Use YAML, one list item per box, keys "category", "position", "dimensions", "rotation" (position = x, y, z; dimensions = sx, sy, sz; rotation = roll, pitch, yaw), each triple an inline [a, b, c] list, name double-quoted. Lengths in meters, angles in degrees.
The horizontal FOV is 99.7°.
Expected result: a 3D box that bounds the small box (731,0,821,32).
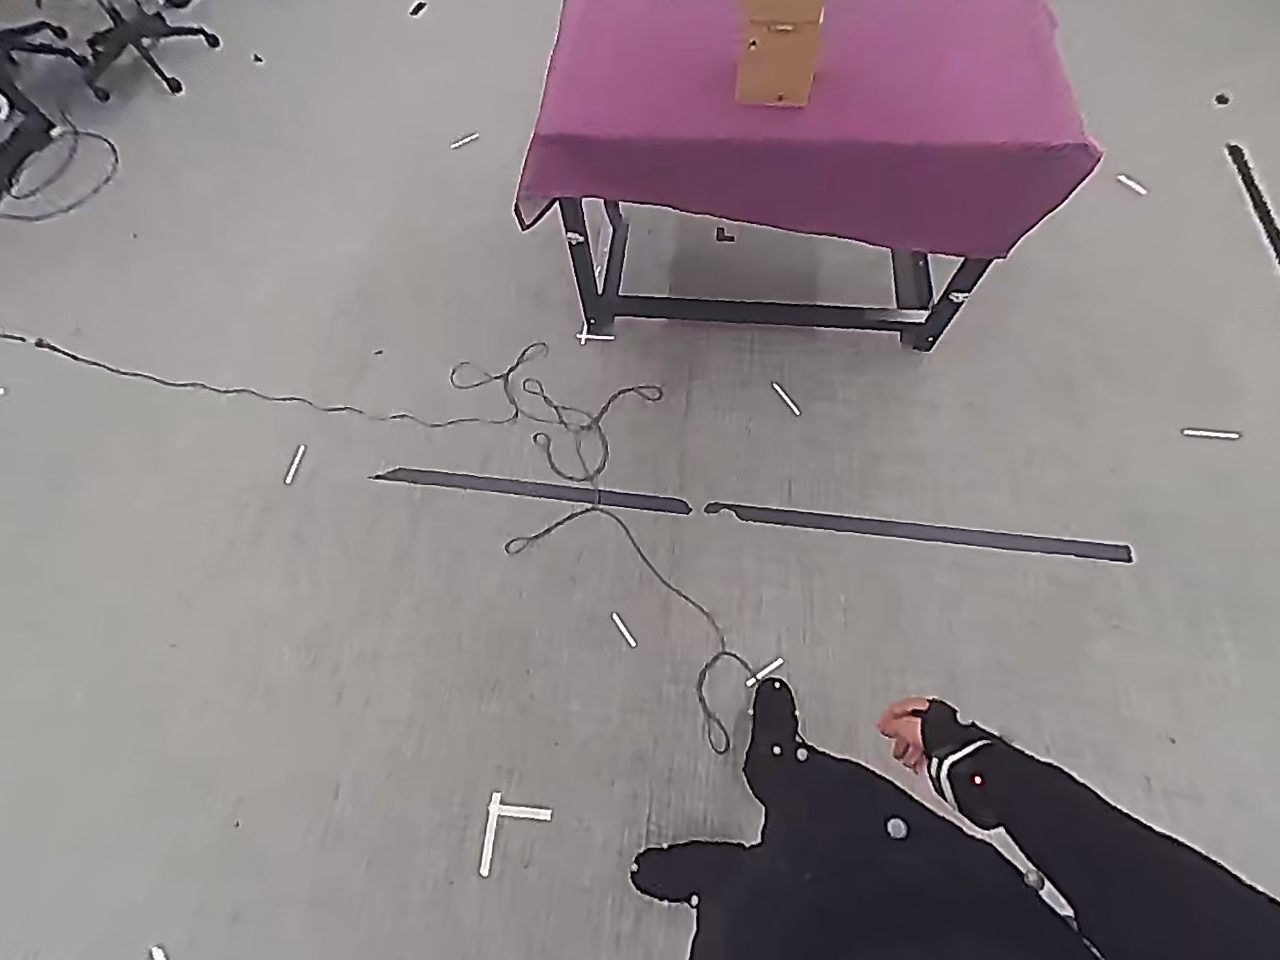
- category: "small box"
  position: [0.277, -1.024, 1.067]
  dimensions: [0.179, 0.176, 0.168]
  rotation: [7, 67, 7]
